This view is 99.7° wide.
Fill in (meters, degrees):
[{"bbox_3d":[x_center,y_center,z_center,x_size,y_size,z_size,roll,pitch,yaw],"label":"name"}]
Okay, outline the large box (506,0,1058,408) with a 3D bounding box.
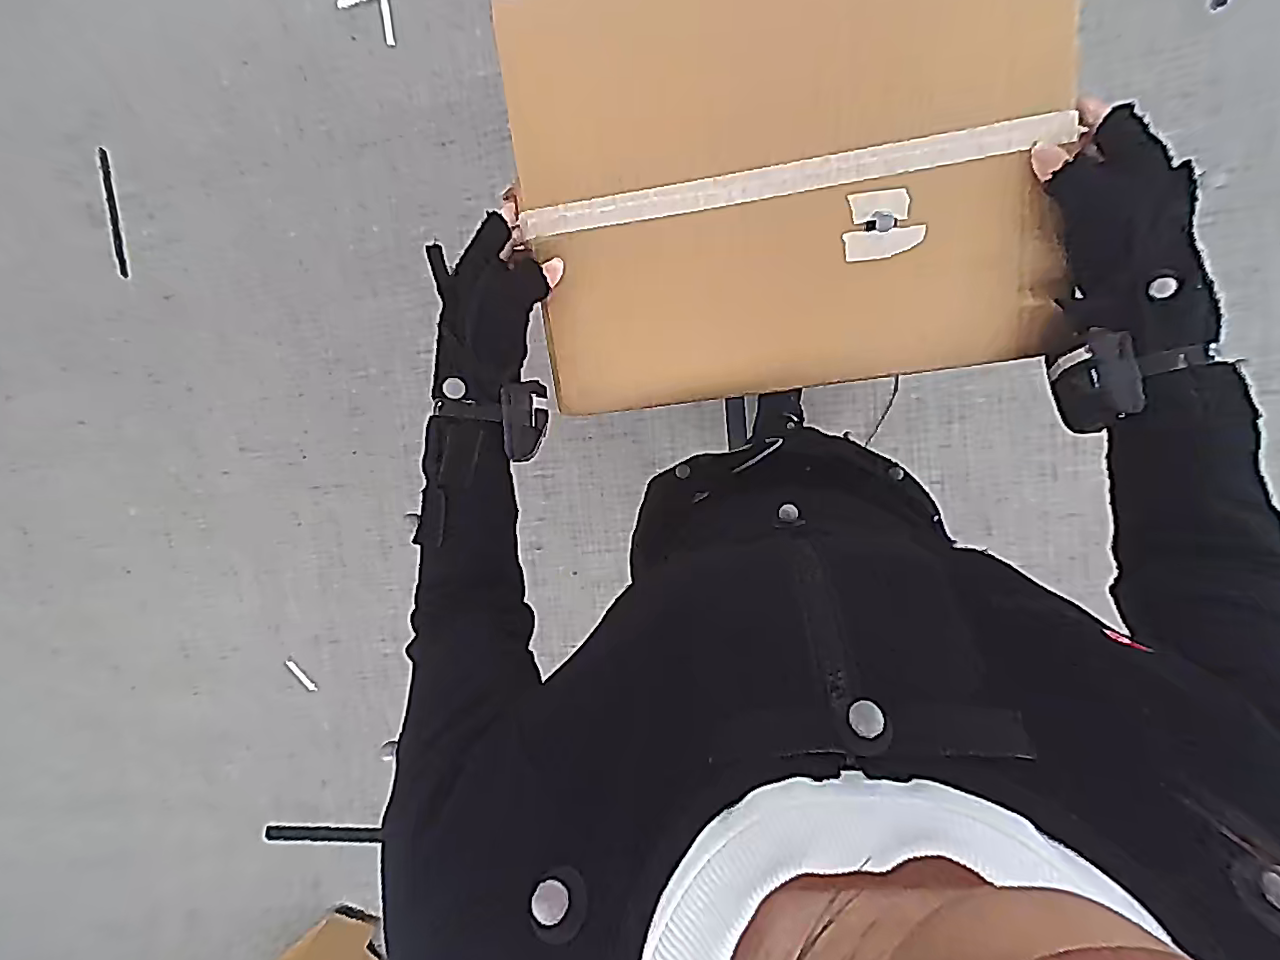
[{"bbox_3d":[0.123,-0.266,0.569,0.408,0.320,0.320,-7,102,7],"label":"large box"}]
